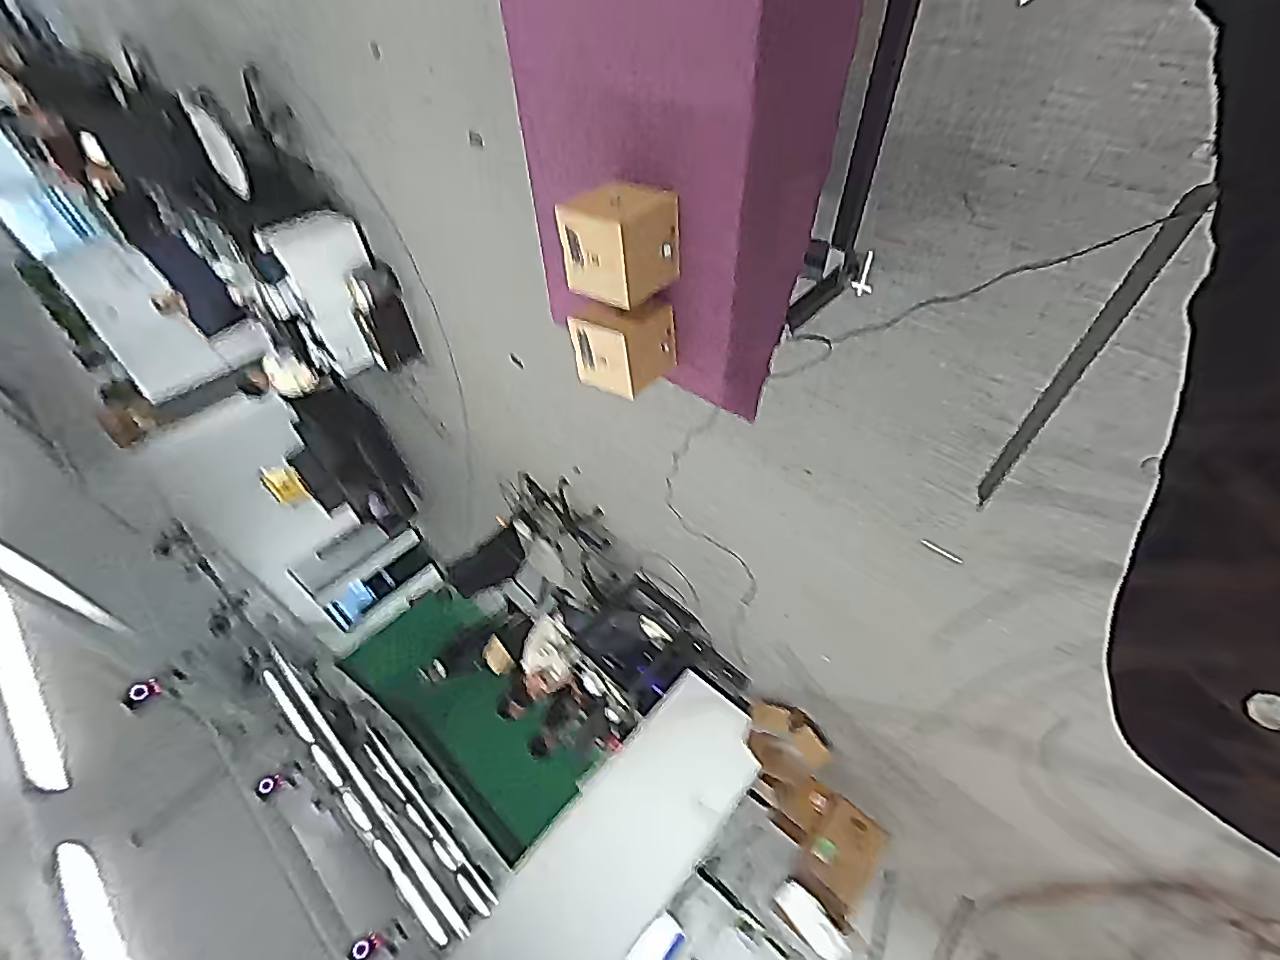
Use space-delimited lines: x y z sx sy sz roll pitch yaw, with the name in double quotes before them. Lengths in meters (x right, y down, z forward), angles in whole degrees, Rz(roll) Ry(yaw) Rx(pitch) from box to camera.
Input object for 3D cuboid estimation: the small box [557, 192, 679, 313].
"small box" -0.038 -0.471 1.106 0.179 0.176 0.168 29 146 31
